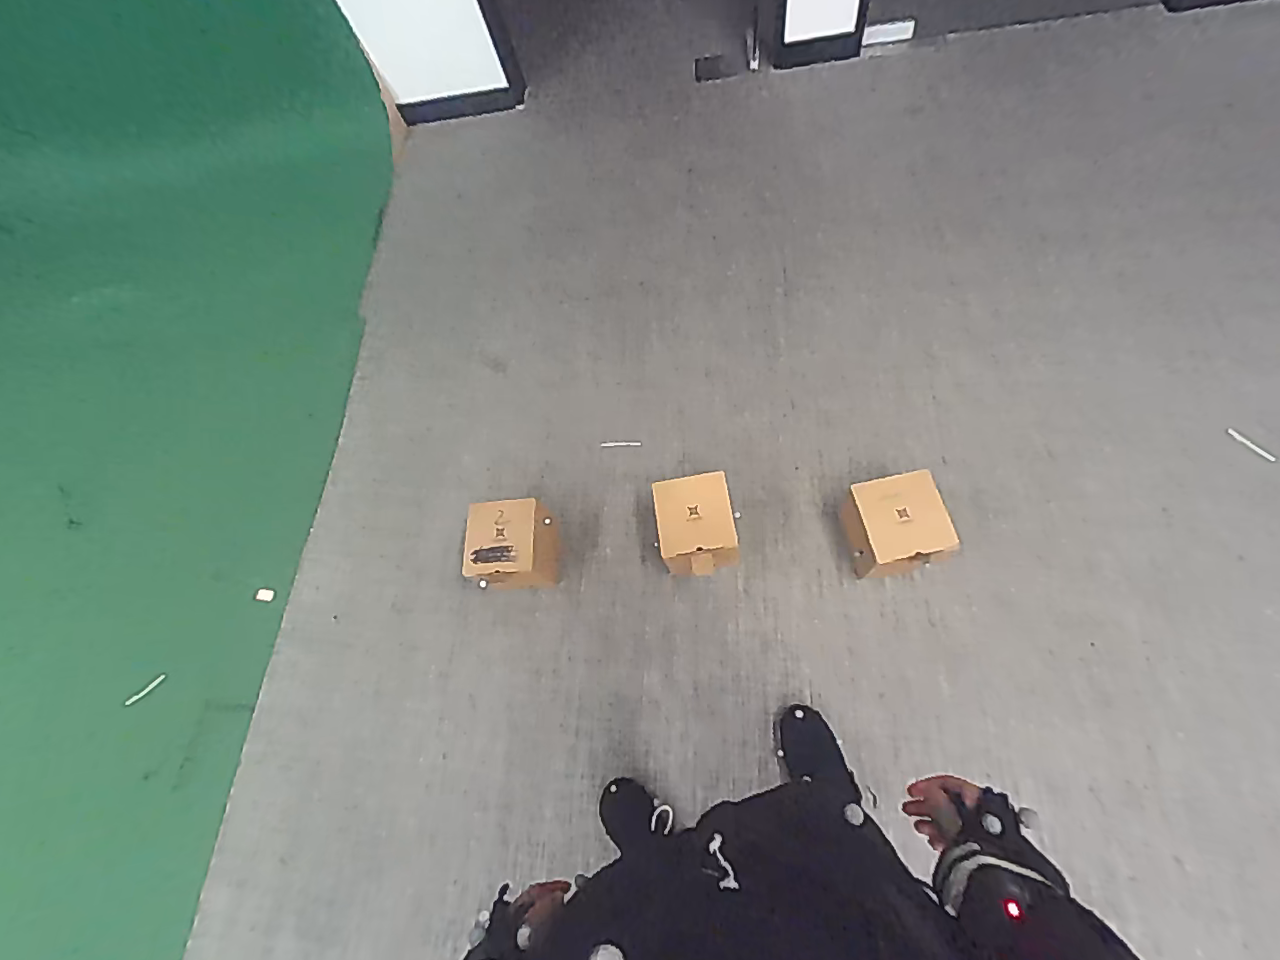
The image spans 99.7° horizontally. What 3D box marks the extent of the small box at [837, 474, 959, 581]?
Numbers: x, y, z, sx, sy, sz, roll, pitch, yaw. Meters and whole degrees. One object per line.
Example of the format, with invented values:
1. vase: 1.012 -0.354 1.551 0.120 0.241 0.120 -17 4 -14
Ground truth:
1. small box: 0.544 0.112 1.167 0.168 0.176 0.179 -13 65 3

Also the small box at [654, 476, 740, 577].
1. small box: 0.130 0.111 1.240 0.168 0.176 0.179 -10 67 6
